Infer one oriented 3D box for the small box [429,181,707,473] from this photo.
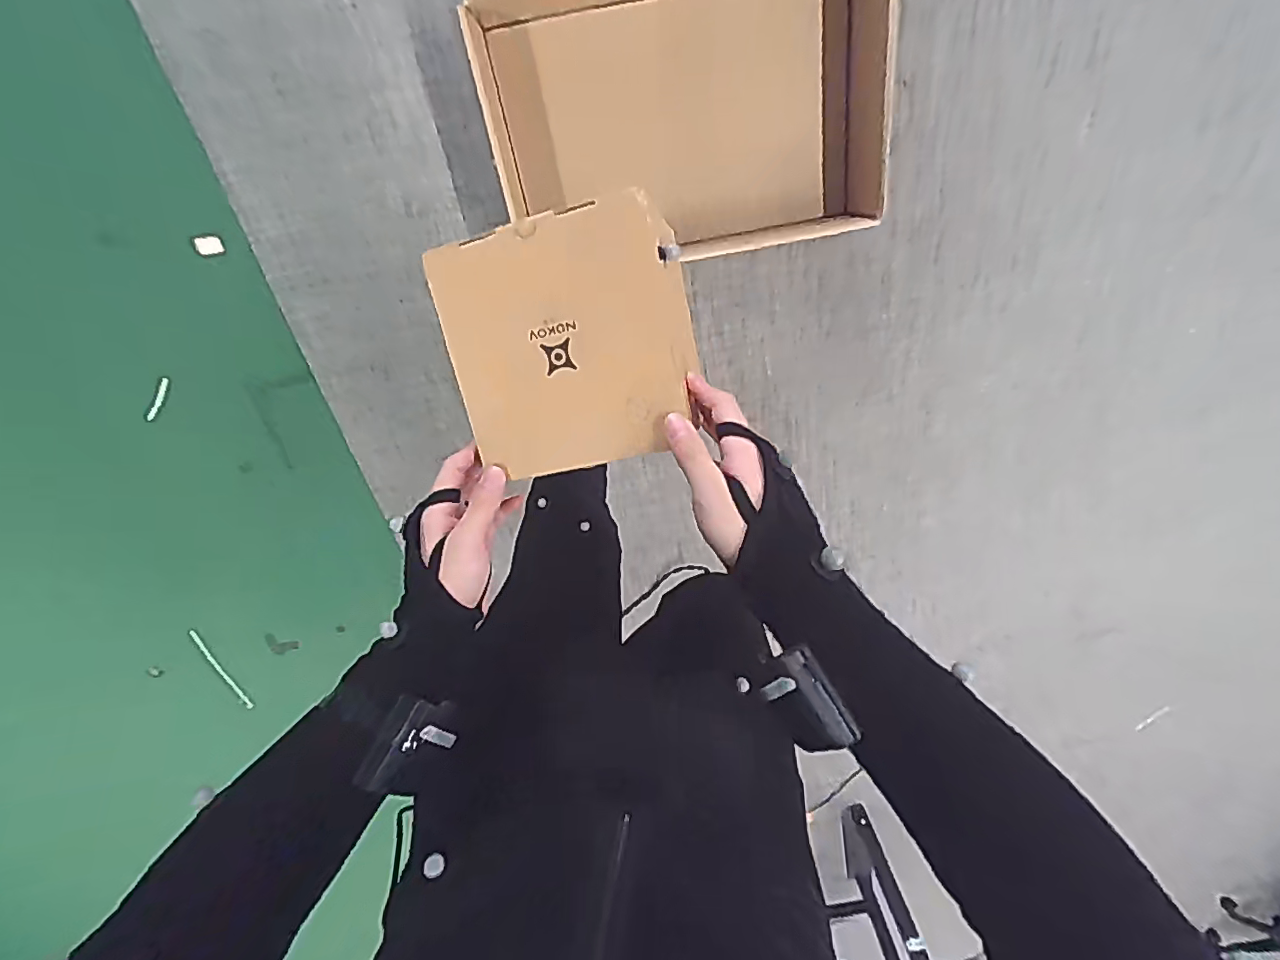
[{"bbox_3d":[-0.041,-0.120,0.462,0.168,0.176,0.179,-11,102,13],"label":"small box"}]
